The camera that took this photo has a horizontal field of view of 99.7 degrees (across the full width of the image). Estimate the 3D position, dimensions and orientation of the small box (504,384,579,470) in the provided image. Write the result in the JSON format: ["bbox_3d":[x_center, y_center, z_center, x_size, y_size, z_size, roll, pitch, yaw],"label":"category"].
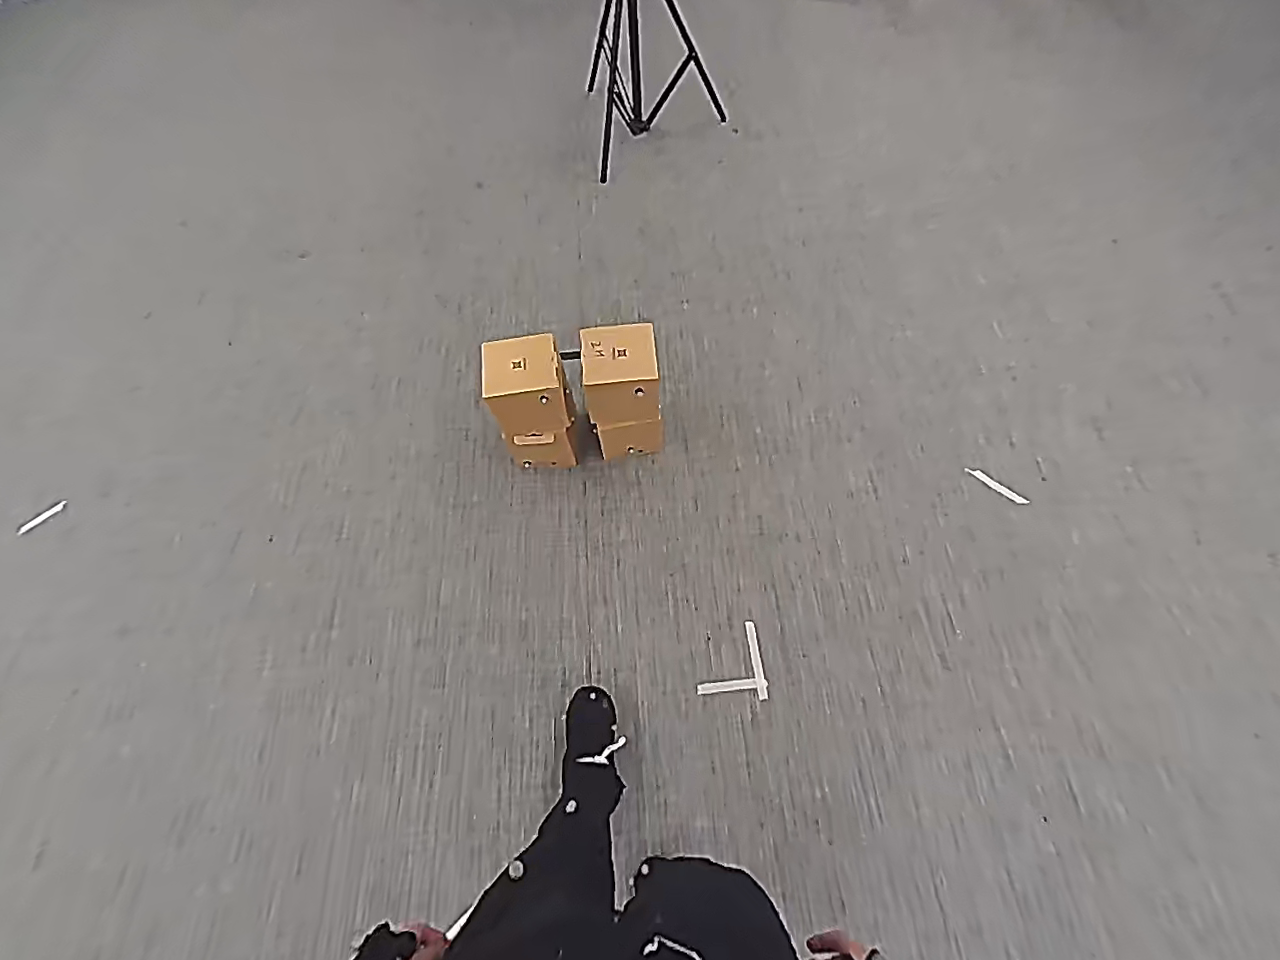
[{"bbox_3d":[-0.261,-0.137,1.468,0.168,0.176,0.179,-3,63,2],"label":"small box"}]
